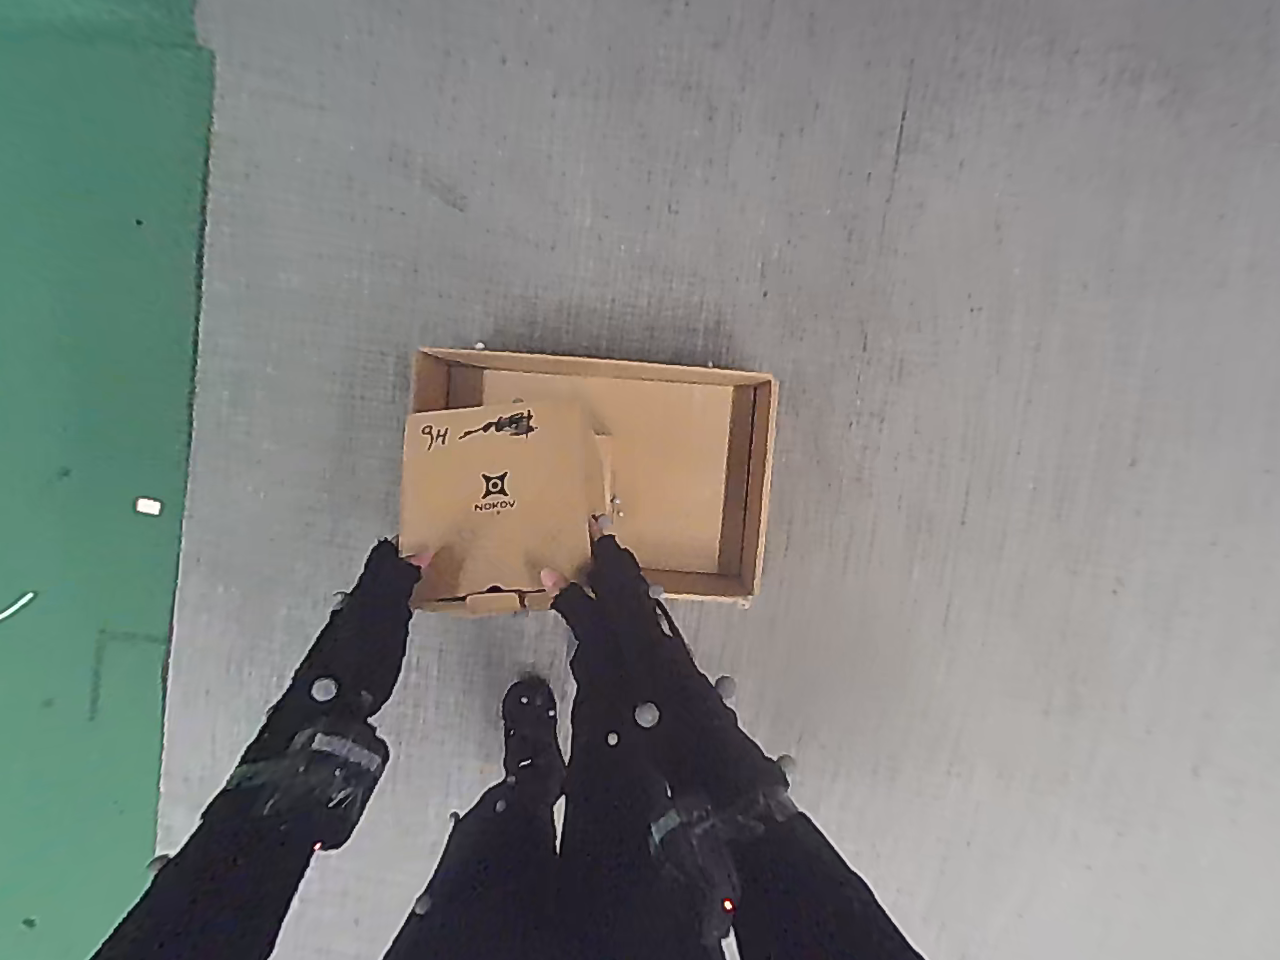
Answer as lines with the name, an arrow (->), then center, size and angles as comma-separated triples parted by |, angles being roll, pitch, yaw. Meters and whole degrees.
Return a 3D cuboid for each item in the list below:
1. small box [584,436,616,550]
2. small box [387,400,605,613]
small box -> -0.125, 0.019, 0.817 | 0.168, 0.176, 0.179 | 4, 92, -1
small box -> -0.128, 0.039, 0.541 | 0.168, 0.176, 0.179 | -5, 72, 1
